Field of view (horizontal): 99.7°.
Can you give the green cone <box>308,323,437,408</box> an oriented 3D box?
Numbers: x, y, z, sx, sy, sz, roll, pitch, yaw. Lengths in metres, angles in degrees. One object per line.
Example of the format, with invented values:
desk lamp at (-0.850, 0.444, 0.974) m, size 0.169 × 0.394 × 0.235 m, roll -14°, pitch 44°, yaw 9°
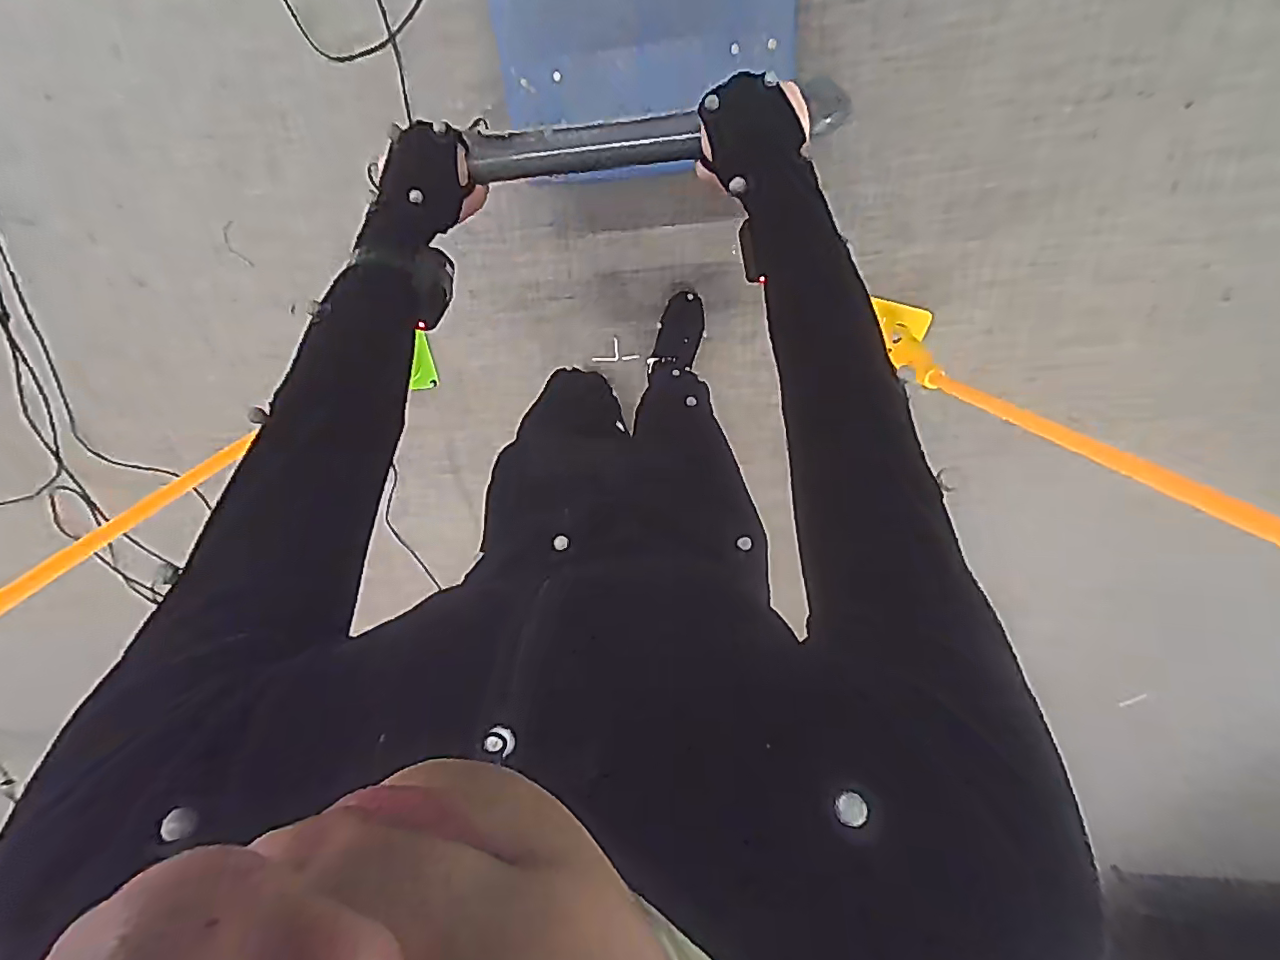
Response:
green cone at (-0.716, -0.266, 1.394) m, size 0.202 × 0.368 × 0.200 m, roll -5°, pitch 116°, yaw 10°
